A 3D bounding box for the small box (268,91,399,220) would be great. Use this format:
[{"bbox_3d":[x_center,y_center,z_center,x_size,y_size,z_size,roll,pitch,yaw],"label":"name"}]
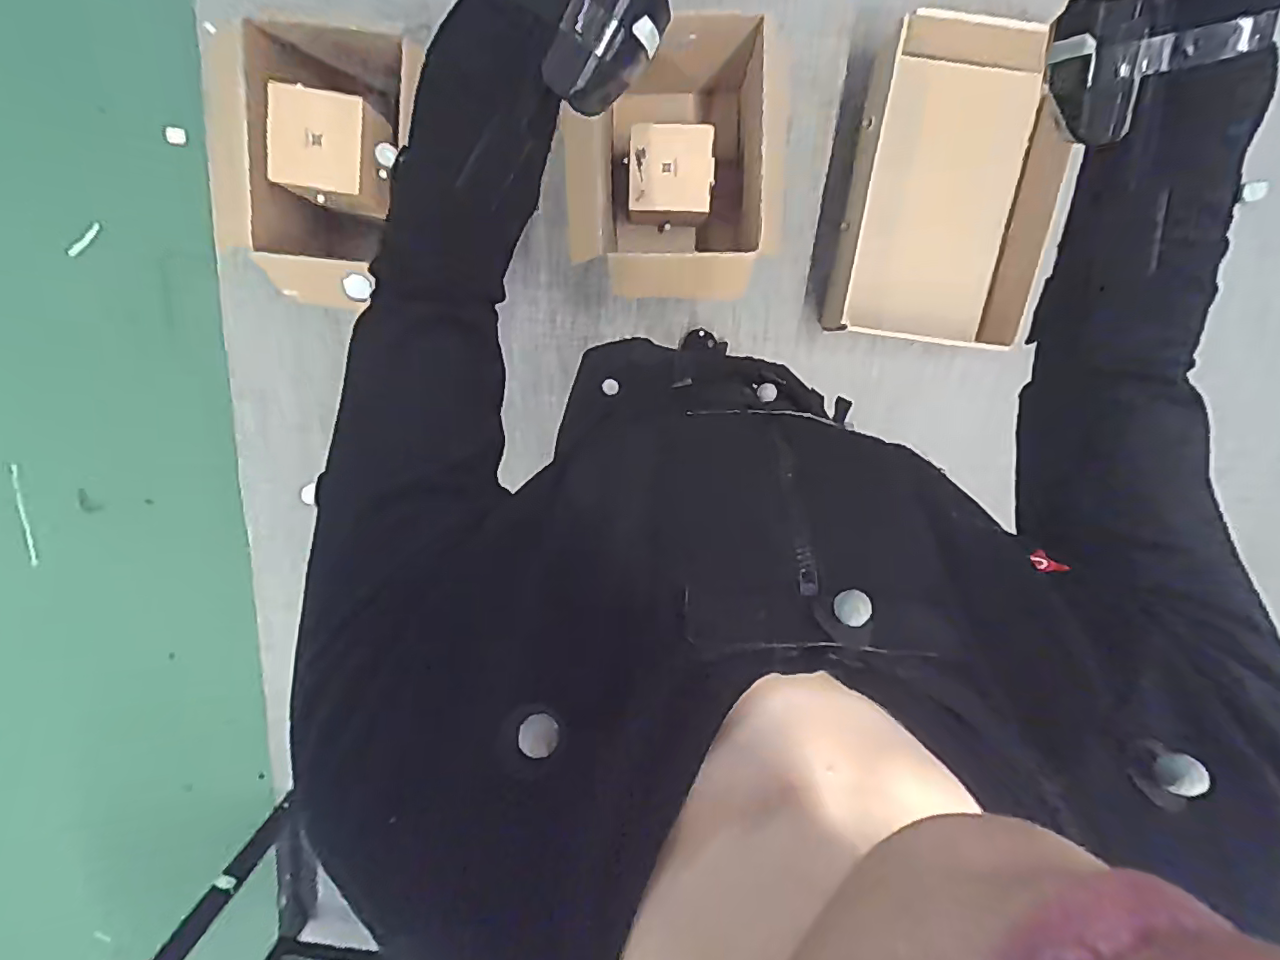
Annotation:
[{"bbox_3d":[-0.603,-0.635,1.082,0.179,0.176,0.168,9,102,-2],"label":"small box"}]
